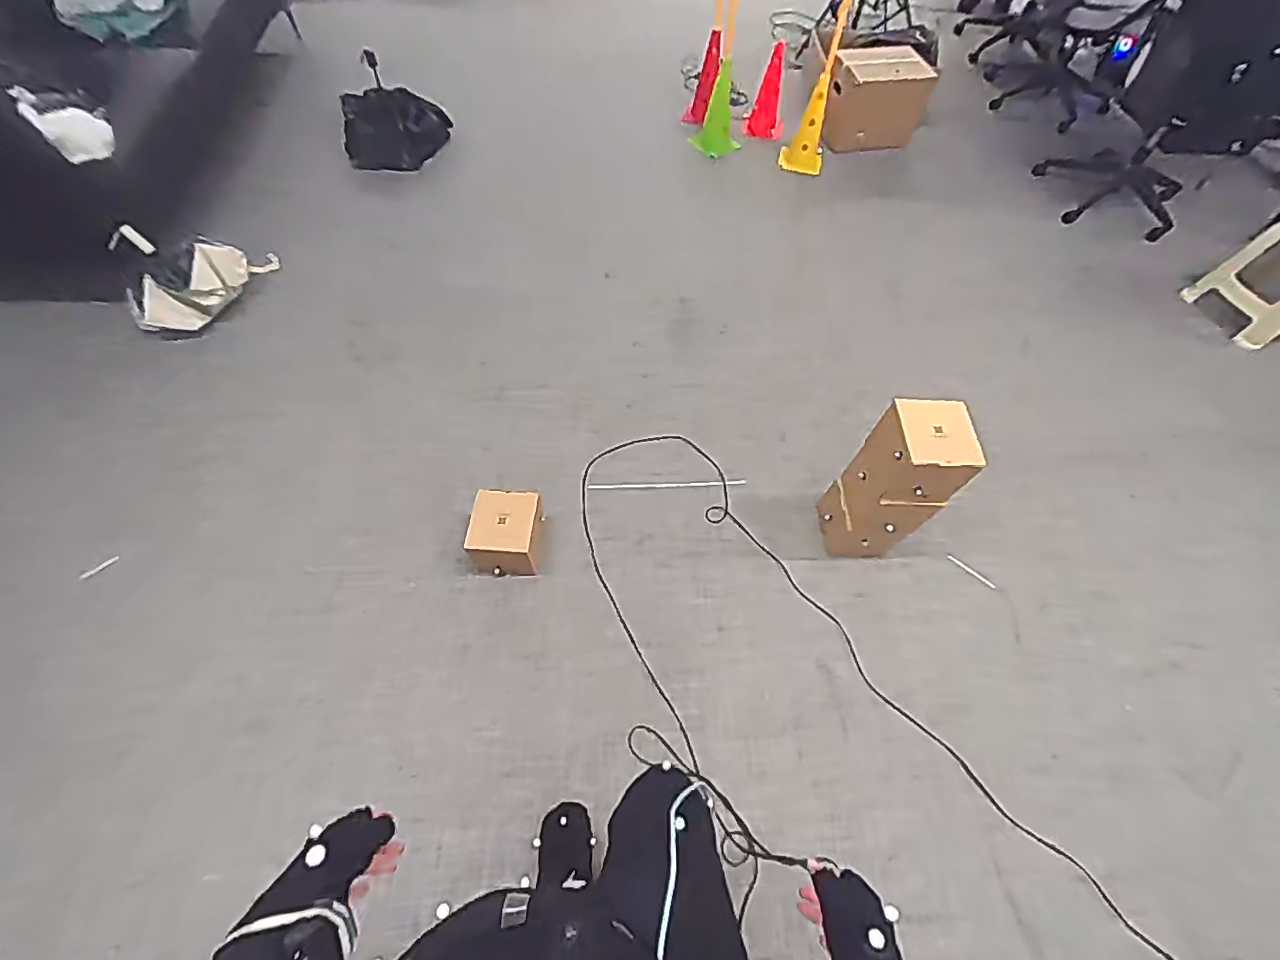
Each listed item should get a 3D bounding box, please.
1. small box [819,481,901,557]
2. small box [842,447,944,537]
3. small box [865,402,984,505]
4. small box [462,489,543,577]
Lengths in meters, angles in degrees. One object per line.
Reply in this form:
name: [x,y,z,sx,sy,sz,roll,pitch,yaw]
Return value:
small box: [0.623,0.114,1.533,0.179,0.176,0.168,1,60,-3]
small box: [0.639,0.031,1.392,0.168,0.176,0.179,2,60,-3]
small box: [0.647,-0.058,1.256,0.168,0.176,0.179,1,60,-3]
small box: [-0.360,0.145,1.451,0.168,0.176,0.179,4,59,0]
